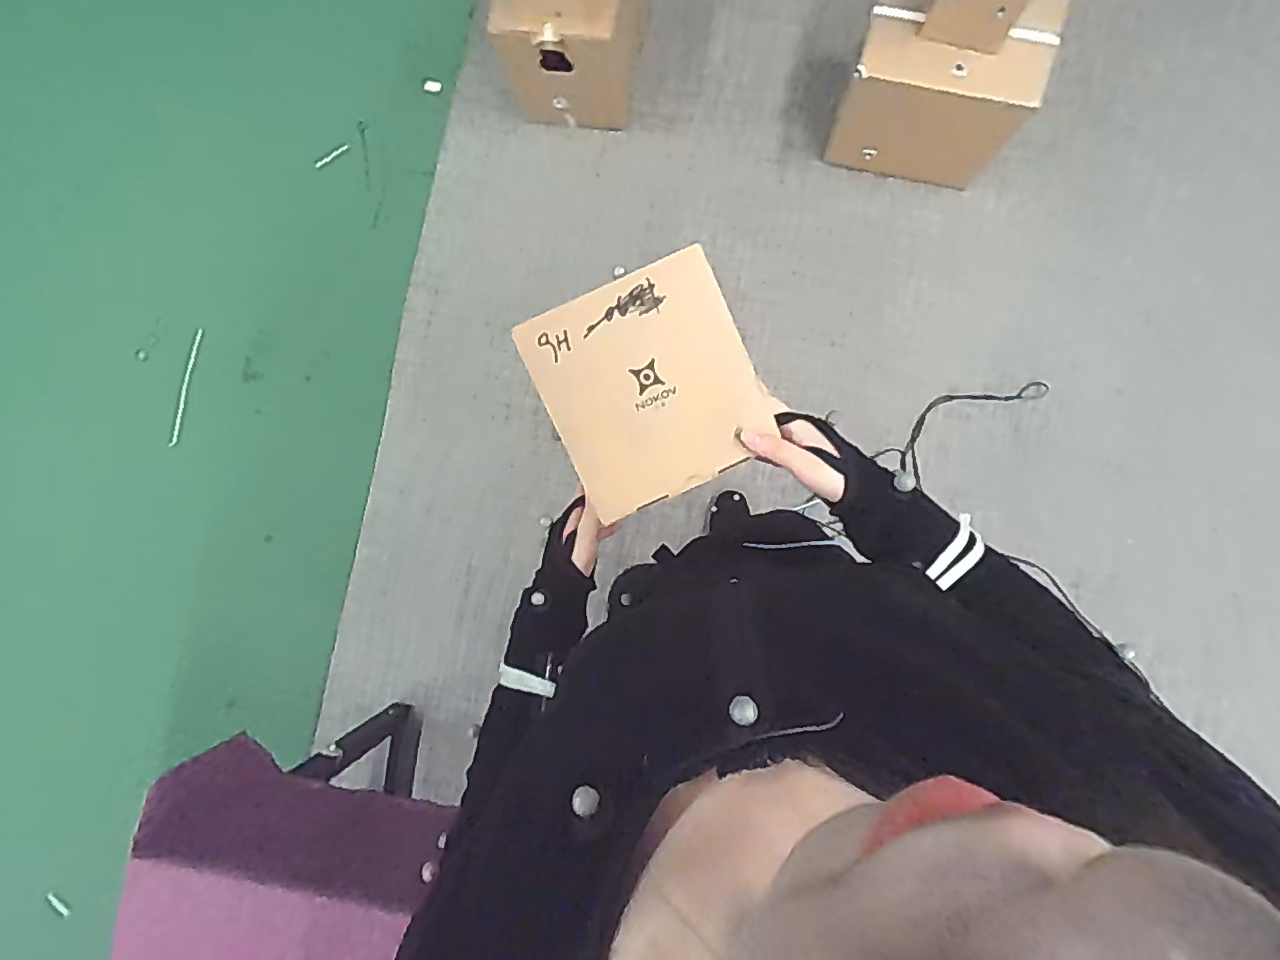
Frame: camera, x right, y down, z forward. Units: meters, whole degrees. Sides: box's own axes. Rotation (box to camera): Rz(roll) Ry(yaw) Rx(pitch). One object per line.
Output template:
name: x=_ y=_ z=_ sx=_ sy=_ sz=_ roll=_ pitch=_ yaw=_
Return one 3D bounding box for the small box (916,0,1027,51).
small box: x=0.716 y=-1.048 z=1.126 sx=0.179 sy=0.176 sz=0.168 roll=19 pitch=86 yaw=6

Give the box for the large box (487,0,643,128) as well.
large box: x=-0.184 y=-1.250 z=1.465 sx=0.320 sy=0.320 sz=0.408 roll=9 pitch=86 yaw=6

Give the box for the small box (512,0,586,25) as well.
small box: x=-0.209 y=-1.180 z=1.217 sx=0.168 sy=0.176 sz=0.179 roll=11 pitch=86 yaw=6

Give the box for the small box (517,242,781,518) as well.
small box: x=0.006 y=-0.088 z=0.511 sx=0.168 sy=0.176 sz=0.179 roll=-24 pitch=98 yaw=-1
